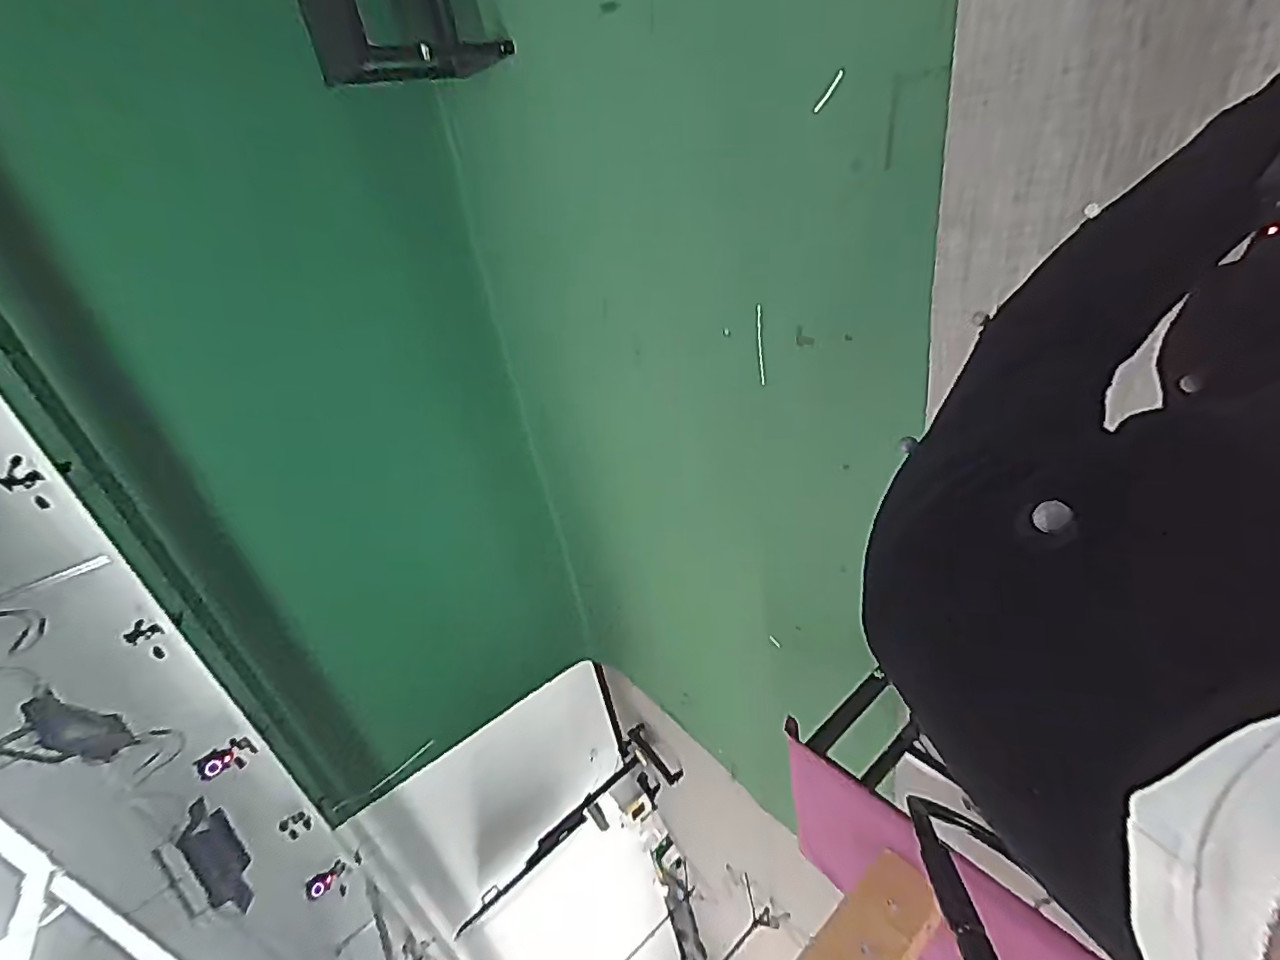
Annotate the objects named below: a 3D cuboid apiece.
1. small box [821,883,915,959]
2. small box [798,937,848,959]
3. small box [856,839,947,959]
[{"bbox_3d":[0.606,1.238,1.437,0.179,0.176,0.168,22,132,47],"label":"small box"},{"bbox_3d":[0.479,1.309,1.358,0.179,0.176,0.168,21,132,48],"label":"small box"},{"bbox_3d":[0.730,1.168,1.515,0.179,0.176,0.168,25,135,47],"label":"small box"}]
